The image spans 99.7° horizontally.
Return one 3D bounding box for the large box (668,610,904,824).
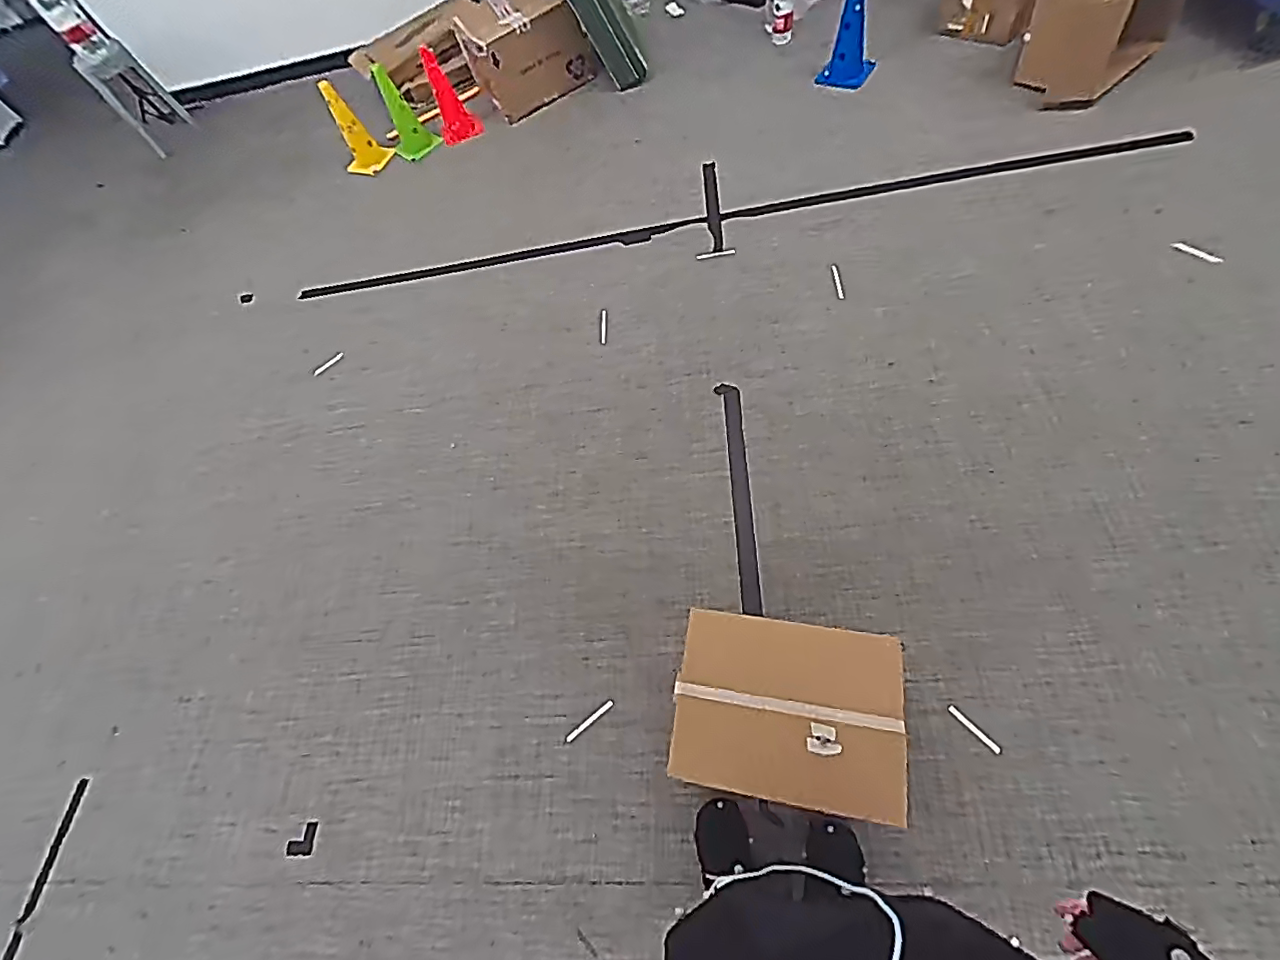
[{"bbox_3d":[0.289,0.482,1.123,0.408,0.320,0.320,6,65,13],"label":"large box"}]
